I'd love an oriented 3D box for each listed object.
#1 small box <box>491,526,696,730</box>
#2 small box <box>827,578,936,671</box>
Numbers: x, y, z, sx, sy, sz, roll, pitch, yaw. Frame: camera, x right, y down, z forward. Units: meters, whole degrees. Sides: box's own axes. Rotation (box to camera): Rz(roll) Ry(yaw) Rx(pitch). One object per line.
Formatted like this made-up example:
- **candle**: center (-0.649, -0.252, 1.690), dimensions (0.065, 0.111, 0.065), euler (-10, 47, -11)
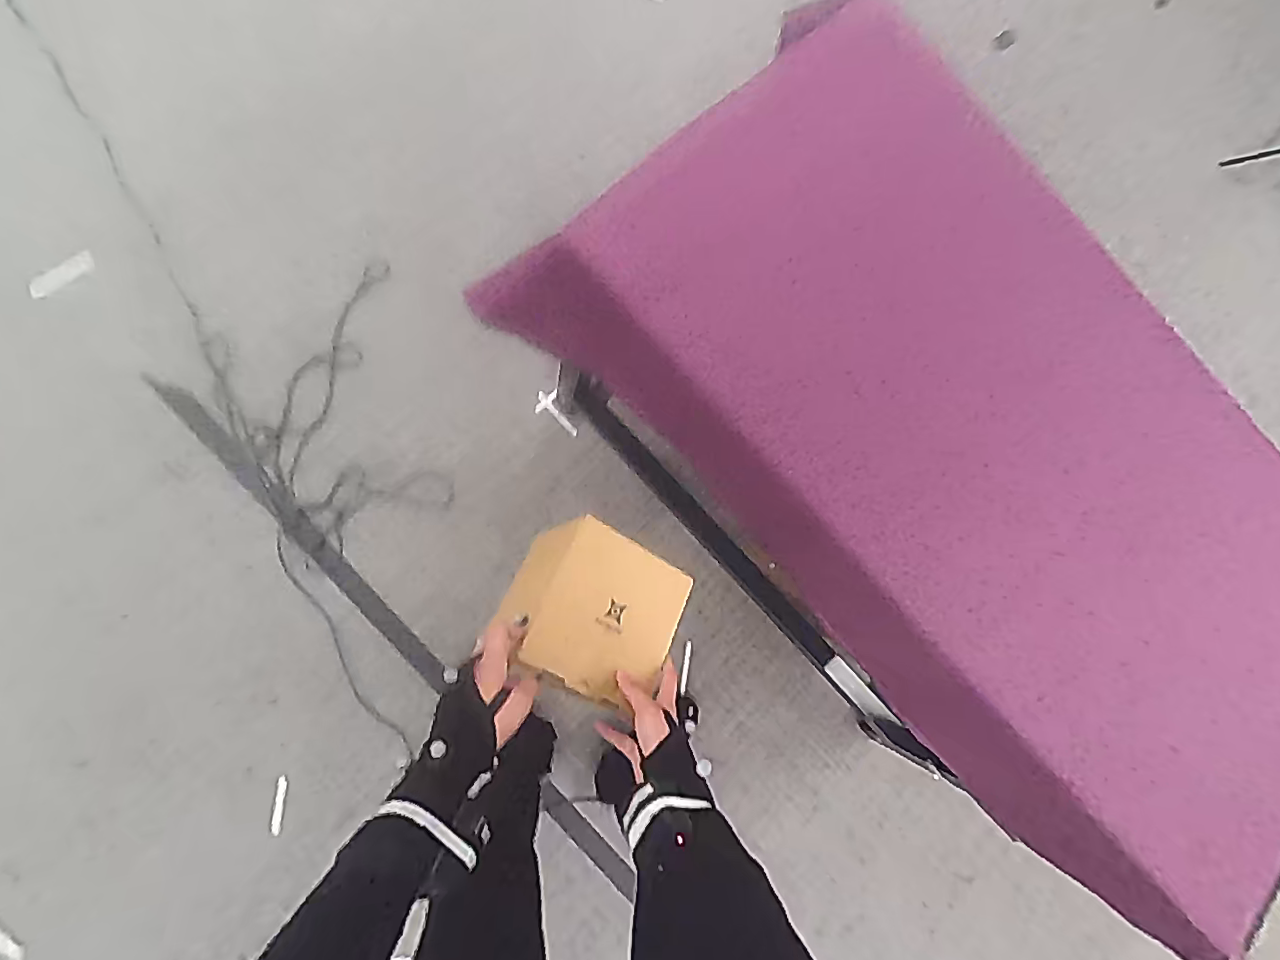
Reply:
- **small box**: center (-0.064, 0.182, 0.677), dimensions (0.168, 0.176, 0.179), euler (33, 64, -18)
- **small box**: center (0.587, 0.347, 1.332), dimensions (0.168, 0.176, 0.179), euler (18, 79, -7)
